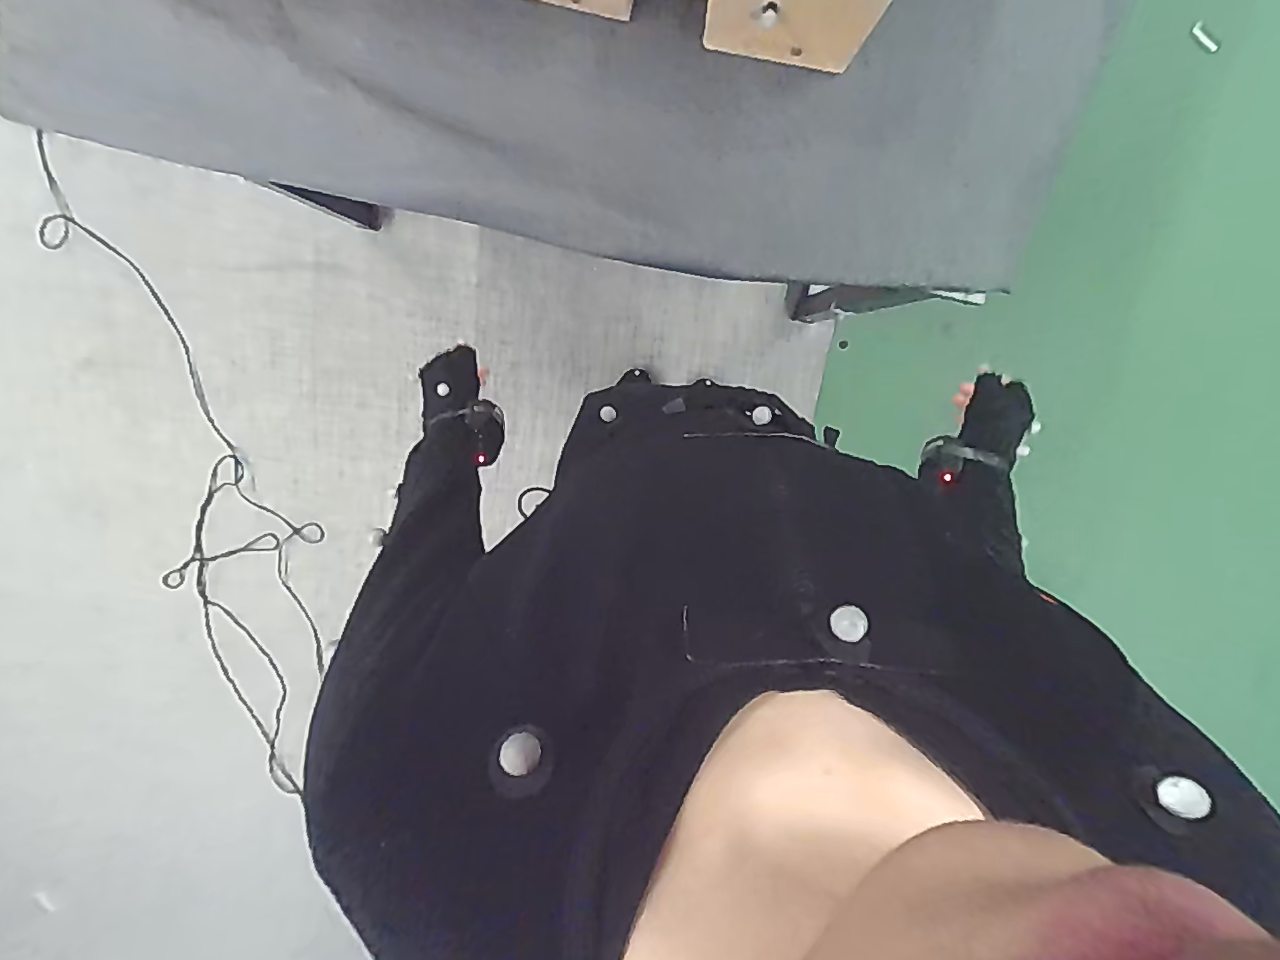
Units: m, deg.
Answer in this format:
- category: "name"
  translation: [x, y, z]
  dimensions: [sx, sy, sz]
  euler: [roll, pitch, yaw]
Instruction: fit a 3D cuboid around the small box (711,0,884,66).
- category: "small box"
  translation: [0.167, -0.543, 0.519]
  dimensions: [0.168, 0.176, 0.179]
  euler: [10, 103, -1]
